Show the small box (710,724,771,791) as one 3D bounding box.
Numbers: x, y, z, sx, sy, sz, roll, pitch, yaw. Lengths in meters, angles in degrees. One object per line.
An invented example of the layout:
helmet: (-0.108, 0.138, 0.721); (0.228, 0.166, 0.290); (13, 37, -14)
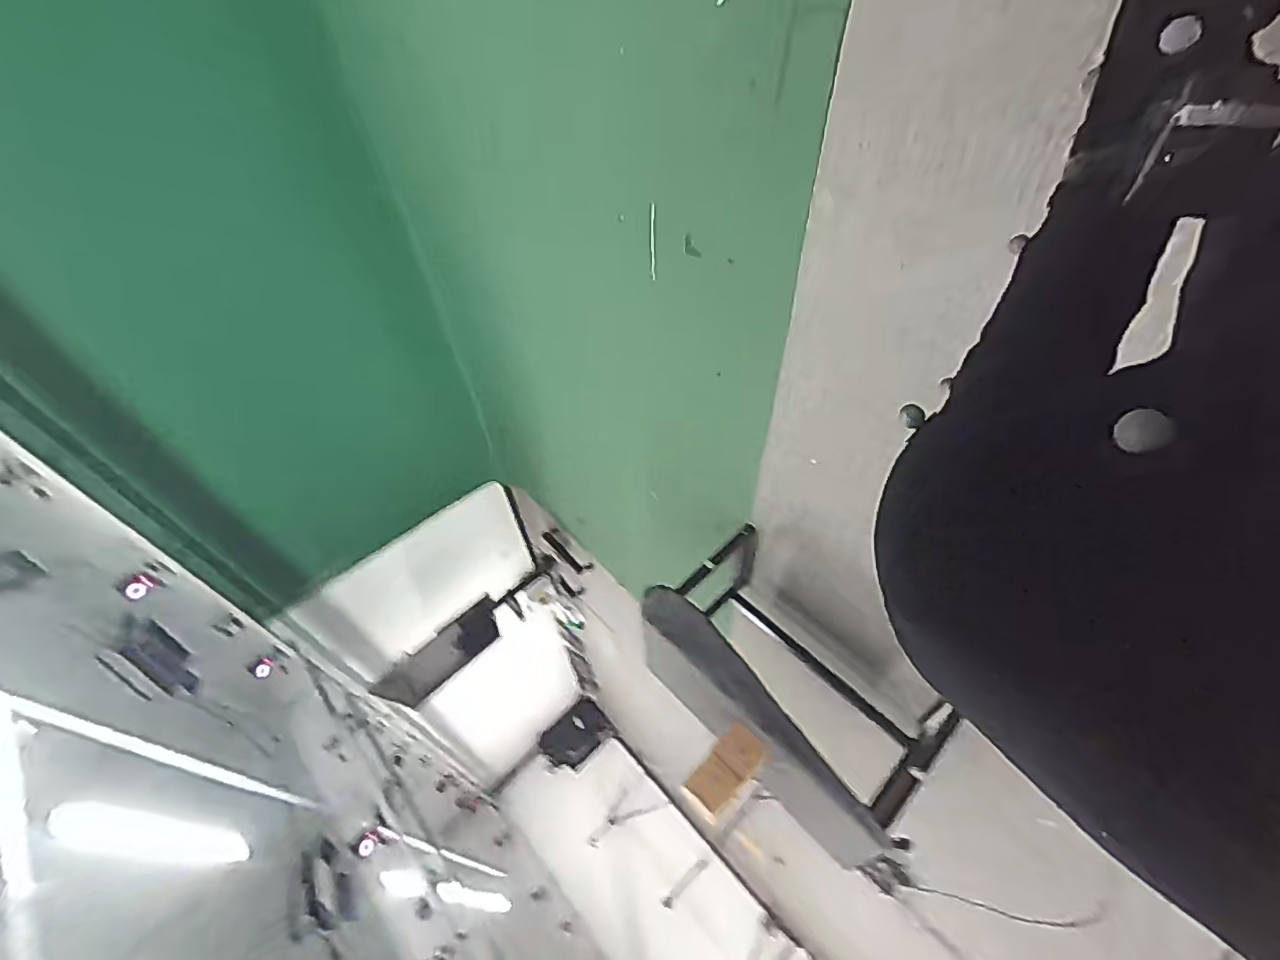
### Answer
small box: (0.398, 1.110, 2.168); (0.179, 0.176, 0.168); (38, 151, 29)

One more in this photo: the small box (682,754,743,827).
small box: (0.282, 1.201, 2.099); (0.168, 0.176, 0.179); (38, 151, 30)
